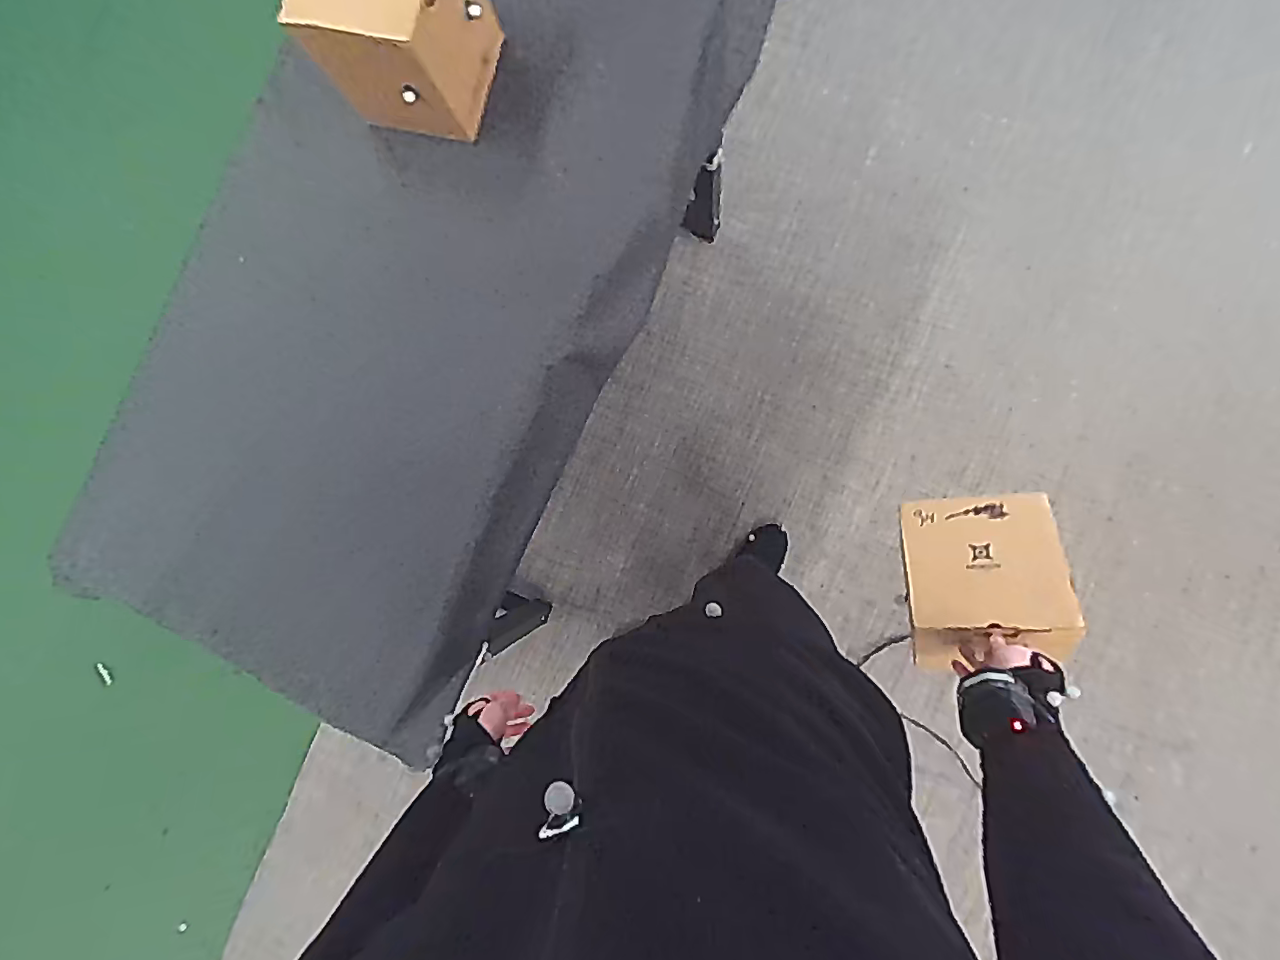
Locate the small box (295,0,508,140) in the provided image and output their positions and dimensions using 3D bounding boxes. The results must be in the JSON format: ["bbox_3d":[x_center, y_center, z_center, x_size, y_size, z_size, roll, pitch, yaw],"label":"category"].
[{"bbox_3d":[-0.299,-0.590,0.717,0.179,0.176,0.168,15,86,9],"label":"small box"}]

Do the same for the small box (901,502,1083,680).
[{"bbox_3d":[0.441,0.150,0.705,0.168,0.176,0.179,-5,53,24],"label":"small box"}]
